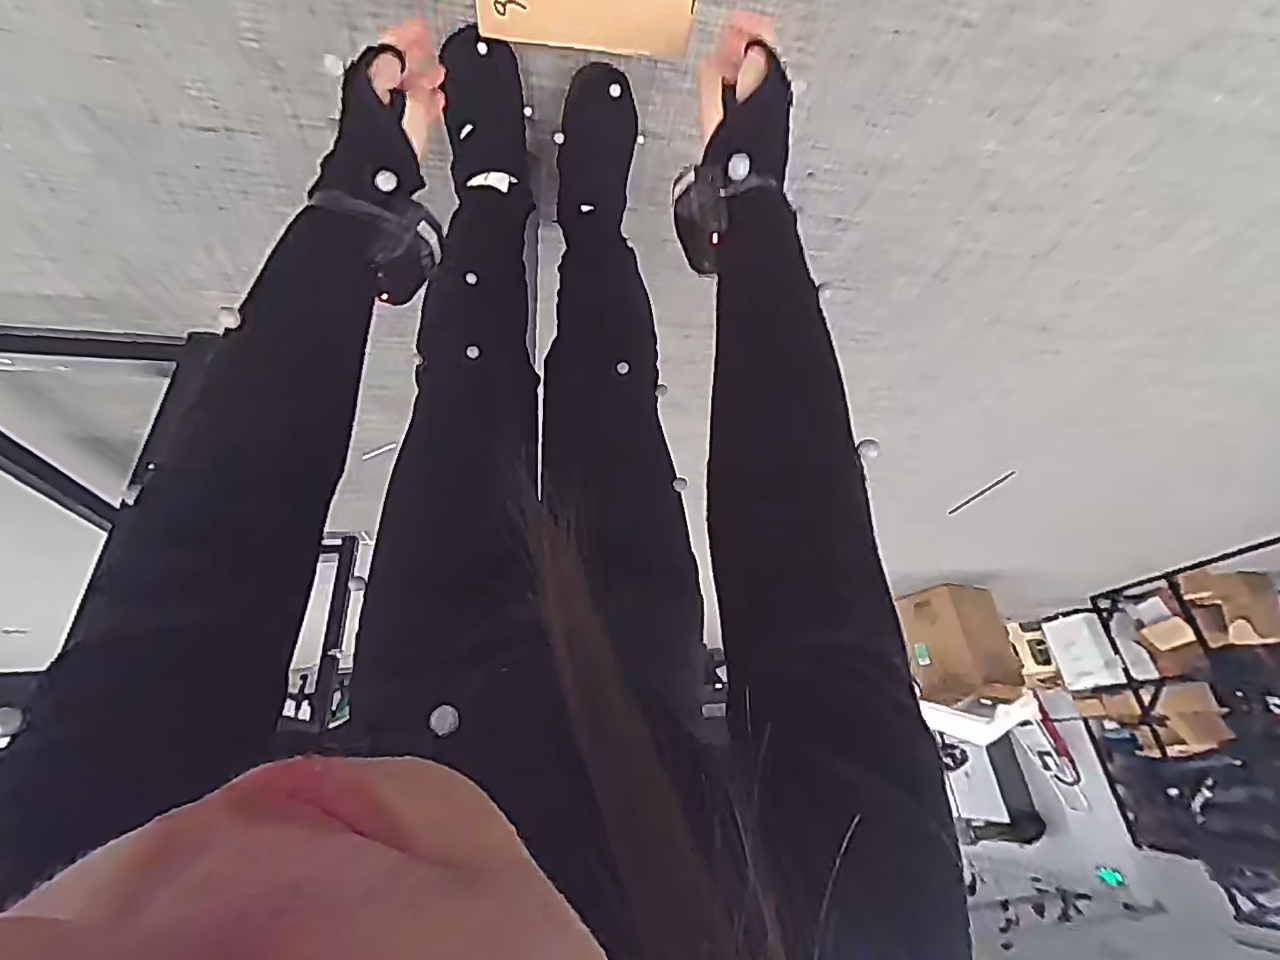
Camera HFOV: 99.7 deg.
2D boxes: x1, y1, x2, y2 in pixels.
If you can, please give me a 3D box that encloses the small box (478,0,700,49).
[{"bbox_3d":[-0.039,-0.472,0.410,0.179,0.176,0.168,-2,152,-10],"label":"small box"}]
